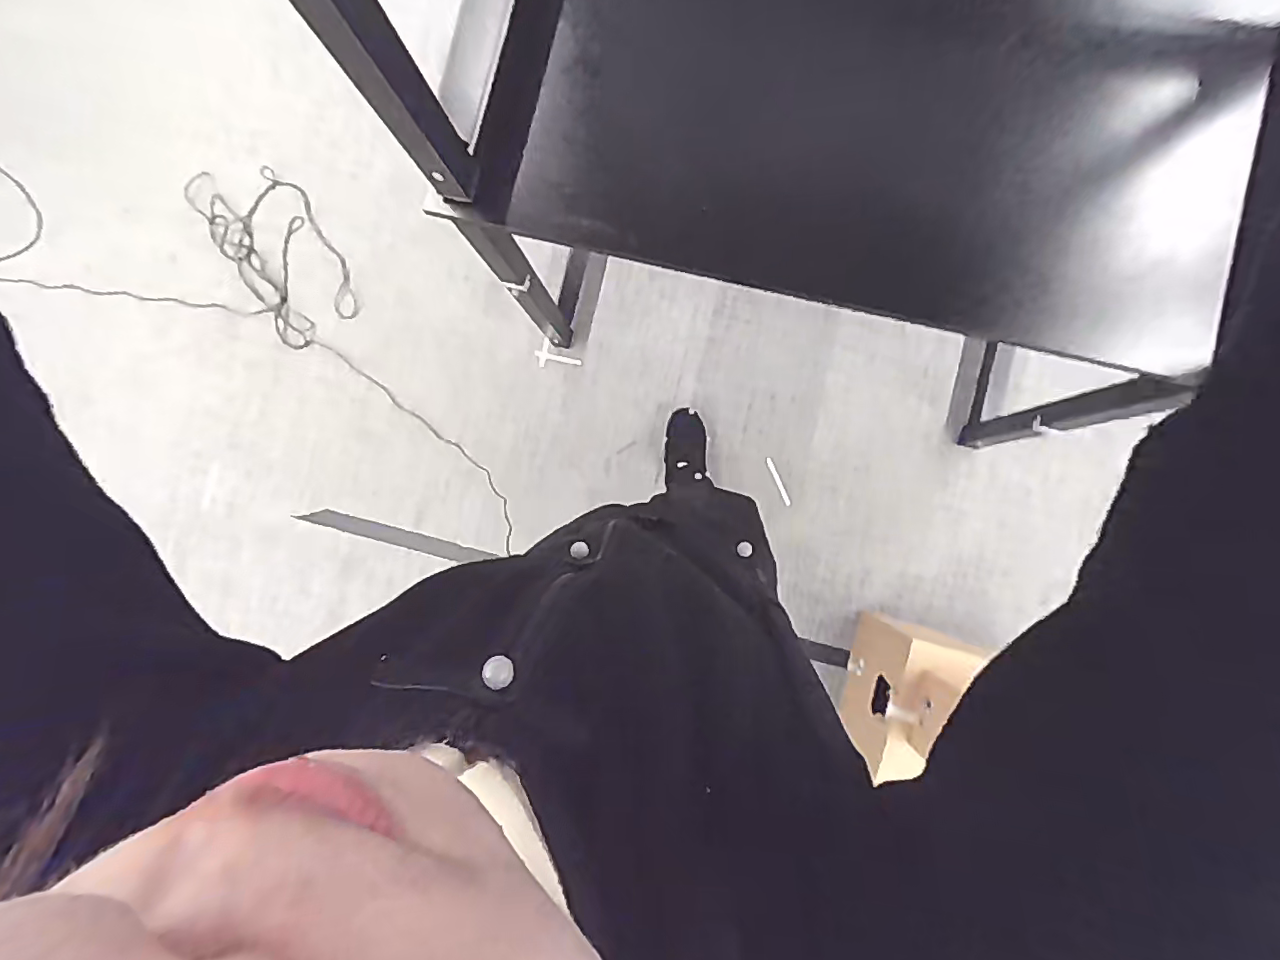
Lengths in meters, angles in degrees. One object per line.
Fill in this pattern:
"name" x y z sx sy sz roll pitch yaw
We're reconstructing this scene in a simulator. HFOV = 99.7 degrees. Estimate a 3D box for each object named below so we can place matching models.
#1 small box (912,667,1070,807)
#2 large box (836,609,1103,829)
"small box" 0.652 0.473 1.024 0.179 0.176 0.168 14 87 5
"large box" 0.728 0.523 1.263 0.408 0.320 0.320 15 90 4
